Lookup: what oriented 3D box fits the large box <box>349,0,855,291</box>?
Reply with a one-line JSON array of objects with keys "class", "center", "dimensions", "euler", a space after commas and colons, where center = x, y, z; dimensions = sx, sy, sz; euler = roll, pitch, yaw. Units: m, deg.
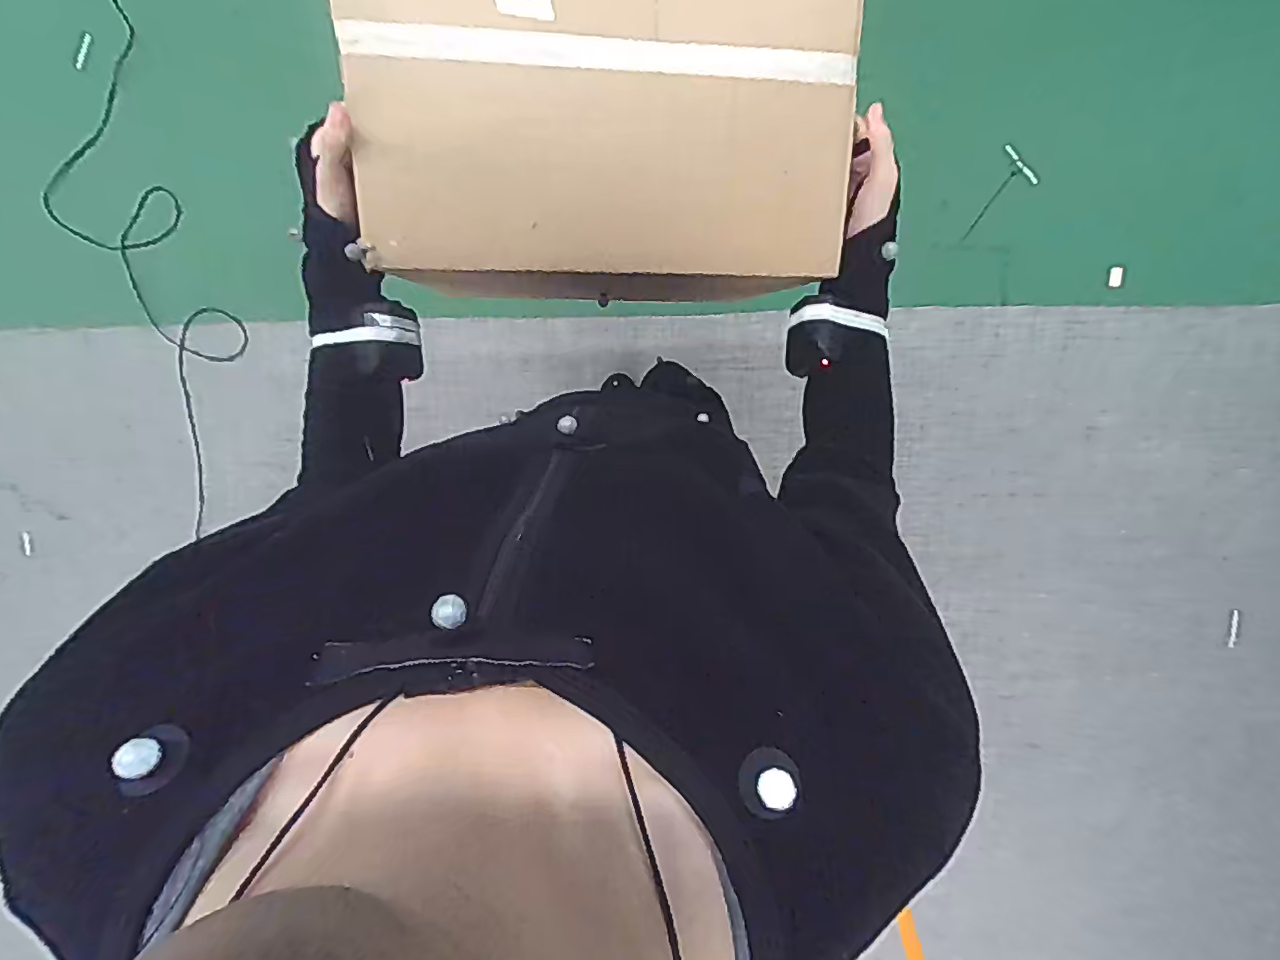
[{"class": "large box", "center": [-0.037, -0.371, 0.577], "dimensions": [0.408, 0.320, 0.320], "euler": [-1, 105, -6]}]
